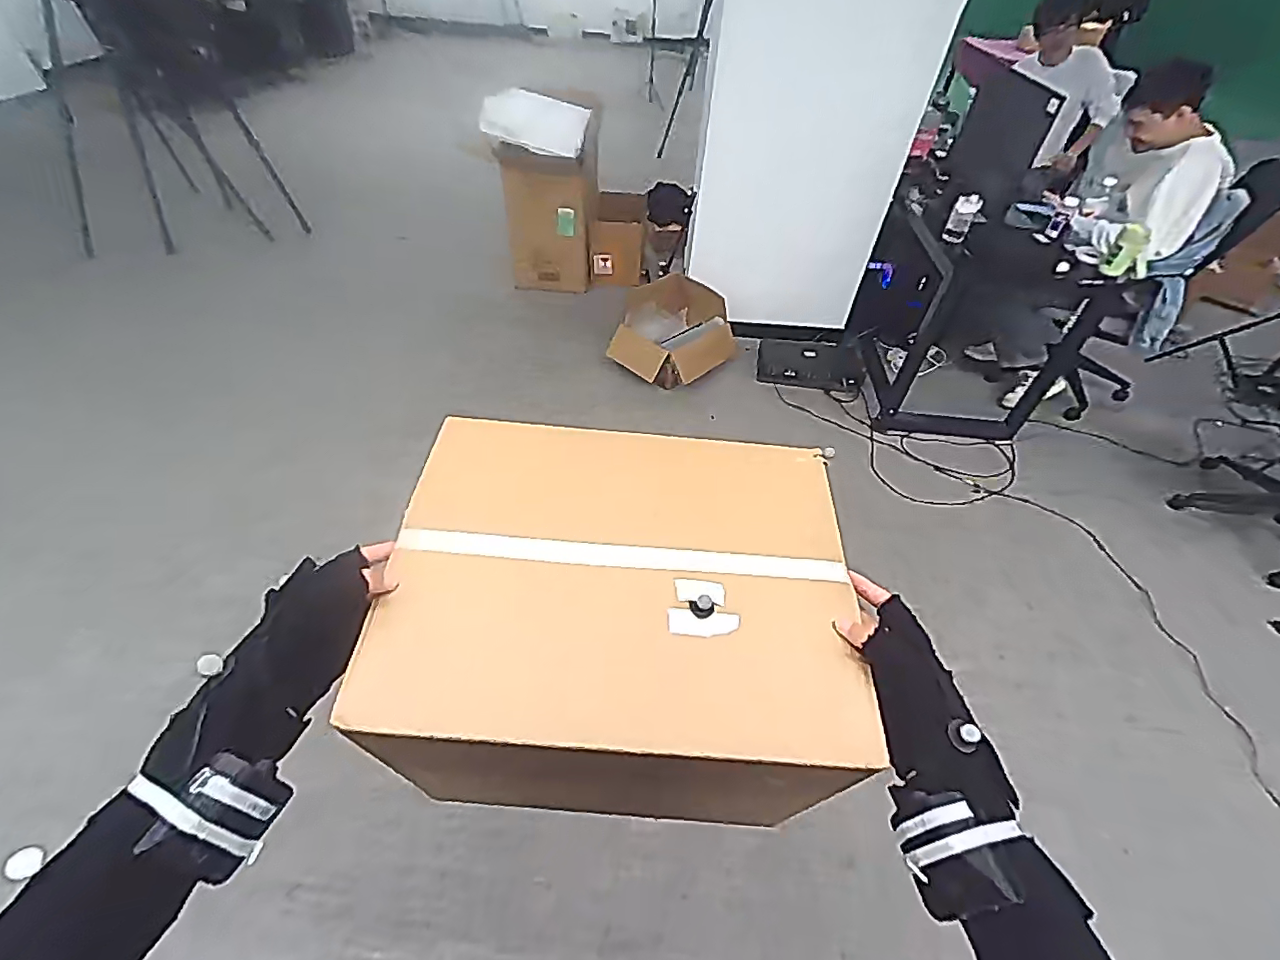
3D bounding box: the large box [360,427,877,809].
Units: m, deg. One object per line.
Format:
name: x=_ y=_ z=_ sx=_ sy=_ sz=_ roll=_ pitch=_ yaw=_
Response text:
large box: x=-0.021 y=0.167 z=0.615 sx=0.408 sy=0.320 sz=0.320 roll=5 pitch=51 yaw=-2
